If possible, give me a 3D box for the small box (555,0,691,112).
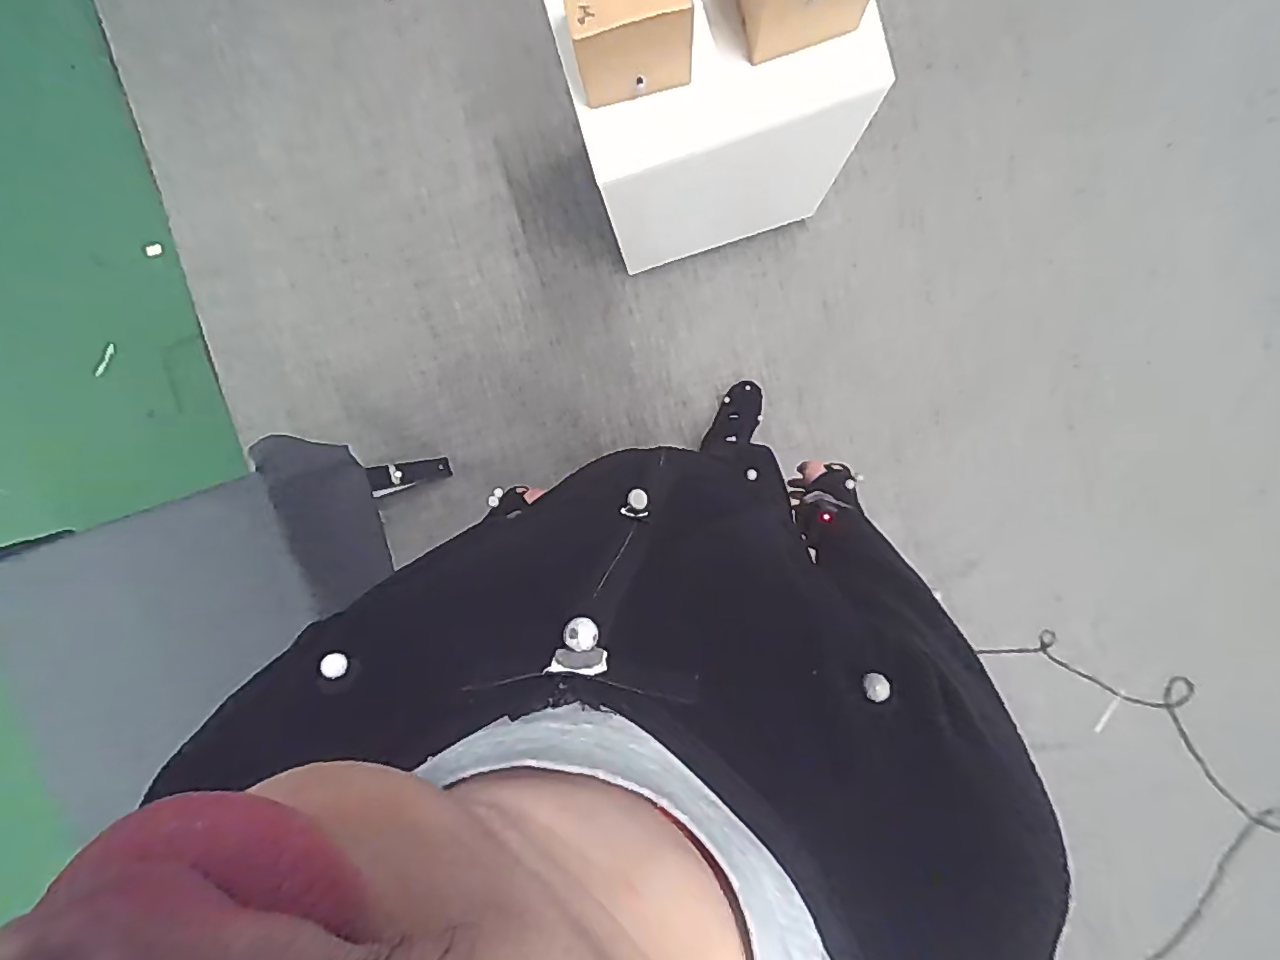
[{"bbox_3d":[-0.032,-0.693,0.803,0.179,0.176,0.168,-13,93,2],"label":"small box"}]

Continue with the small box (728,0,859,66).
[{"bbox_3d":[0.225,-0.758,0.789,0.179,0.176,0.168,-17,94,3],"label":"small box"}]
